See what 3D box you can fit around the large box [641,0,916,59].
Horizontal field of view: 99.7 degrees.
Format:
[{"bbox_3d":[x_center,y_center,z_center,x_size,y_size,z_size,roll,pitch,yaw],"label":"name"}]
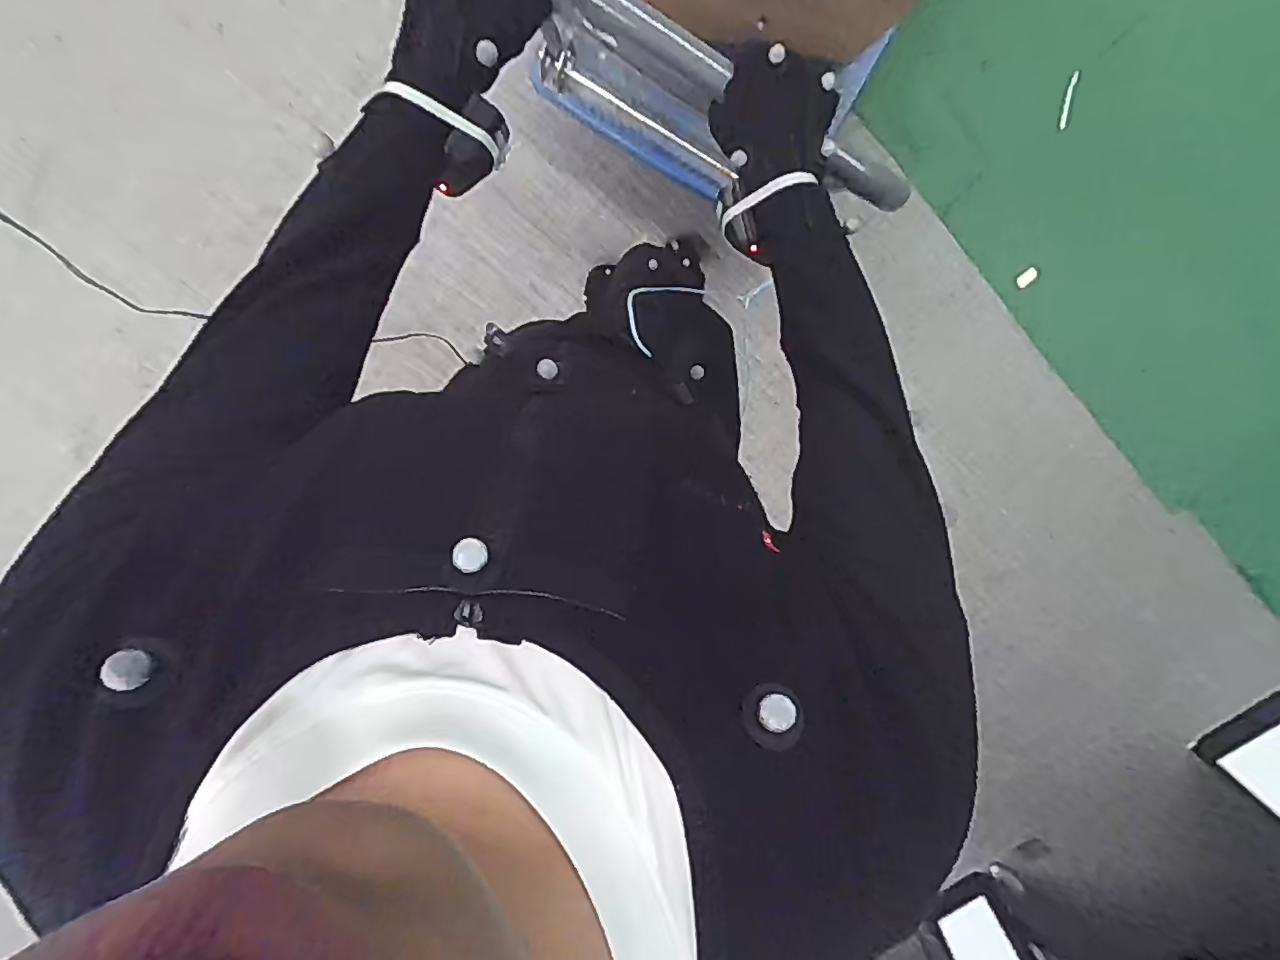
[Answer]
[{"bbox_3d":[0.220,-0.890,0.813,0.408,0.320,0.320,8,113,-4],"label":"large box"}]
